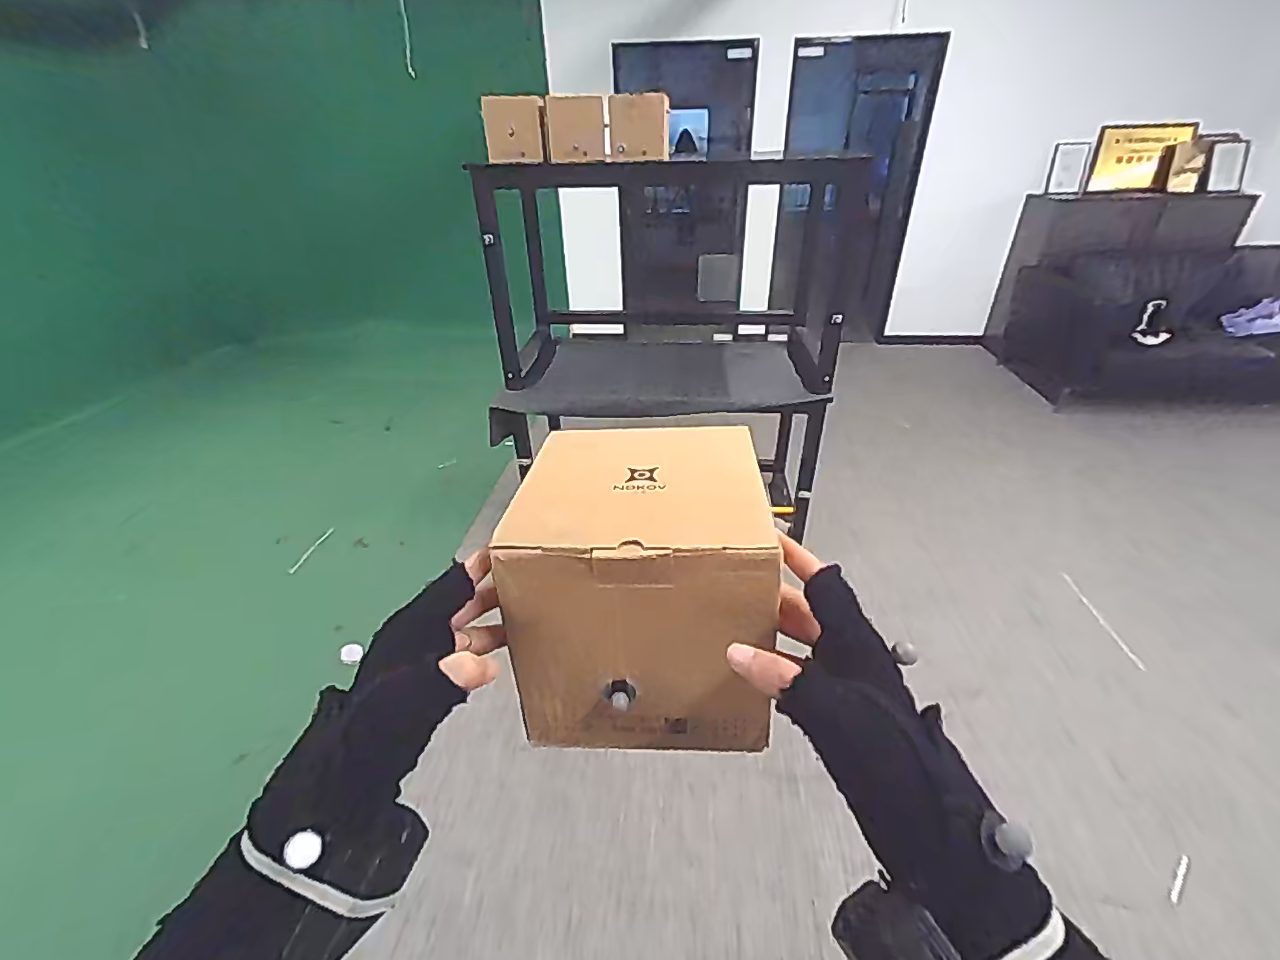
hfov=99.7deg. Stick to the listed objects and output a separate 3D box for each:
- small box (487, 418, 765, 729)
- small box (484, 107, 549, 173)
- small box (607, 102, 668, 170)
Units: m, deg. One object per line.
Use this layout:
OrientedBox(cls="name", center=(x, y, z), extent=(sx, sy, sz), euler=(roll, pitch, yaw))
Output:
OrientedBox(cls="small box", center=(-0.001, 0.060, 0.419), extent=(0.168, 0.176, 0.179), euler=(-1, 27, 5))
OrientedBox(cls="small box", center=(-0.383, -1.070, 1.707), extent=(0.168, 0.176, 0.179), euler=(-1, 31, -2))
OrientedBox(cls="small box", center=(-0.001, -1.067, 1.683), extent=(0.168, 0.176, 0.179), euler=(2, 31, 7))
